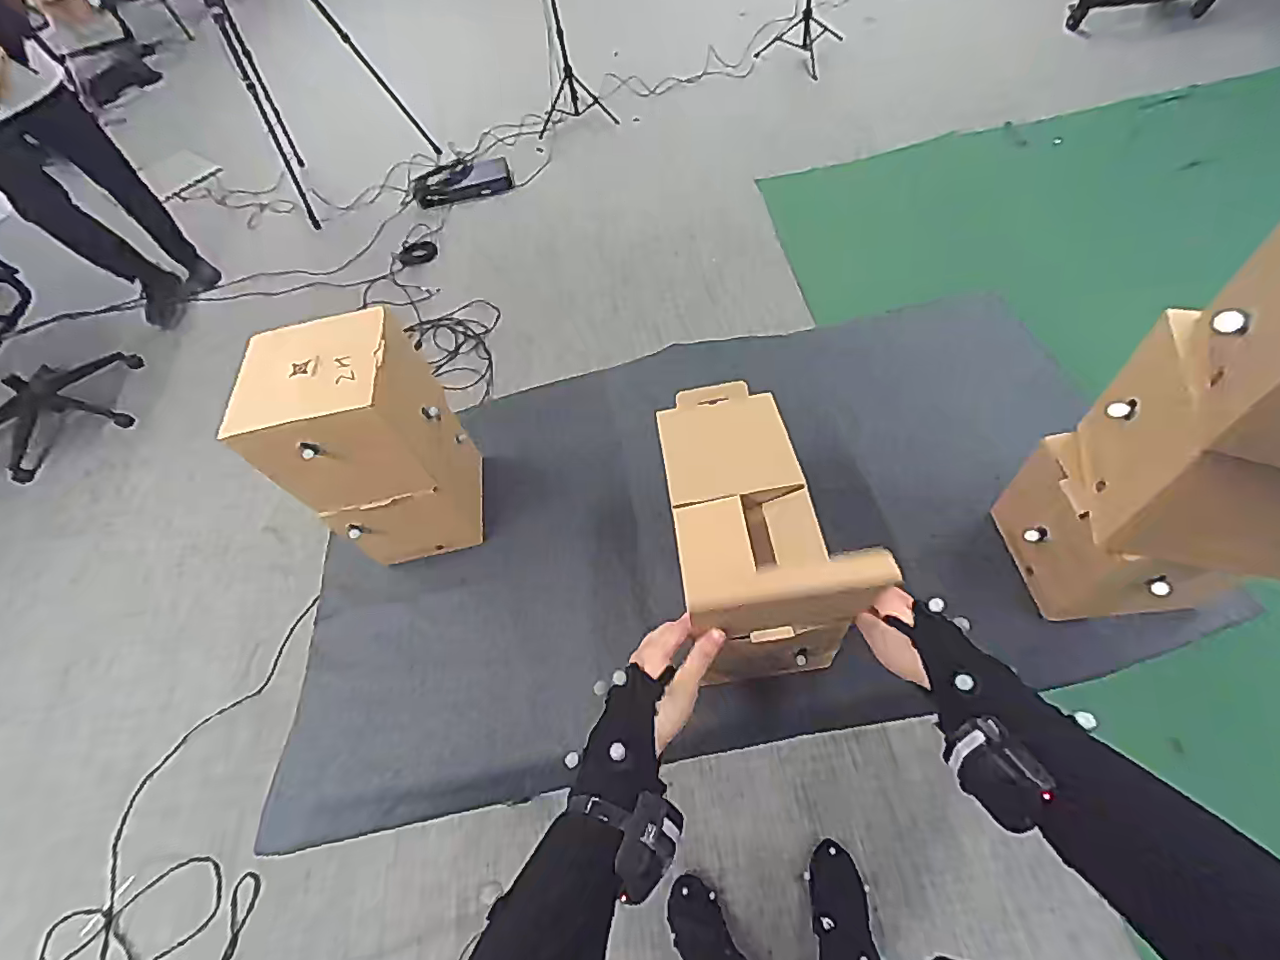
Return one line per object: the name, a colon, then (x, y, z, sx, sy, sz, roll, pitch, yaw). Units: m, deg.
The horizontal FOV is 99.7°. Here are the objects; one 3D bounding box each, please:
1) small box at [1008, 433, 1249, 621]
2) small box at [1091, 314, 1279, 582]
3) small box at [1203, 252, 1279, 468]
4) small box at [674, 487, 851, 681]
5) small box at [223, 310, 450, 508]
small box: (0.569, 0.055, 0.631, 0.179, 0.176, 0.168, -8, 54, 6)
small box: (0.549, -0.025, 0.489, 0.179, 0.176, 0.168, 11, 58, 17)
small box: (0.525, -0.098, 0.341, 0.179, 0.176, 0.168, 20, 61, 23)
small box: (0.139, 0.136, 0.661, 0.168, 0.176, 0.179, -9, 54, 3)
small box: (-0.364, -0.081, 0.686, 0.179, 0.176, 0.168, -12, 58, 2)
